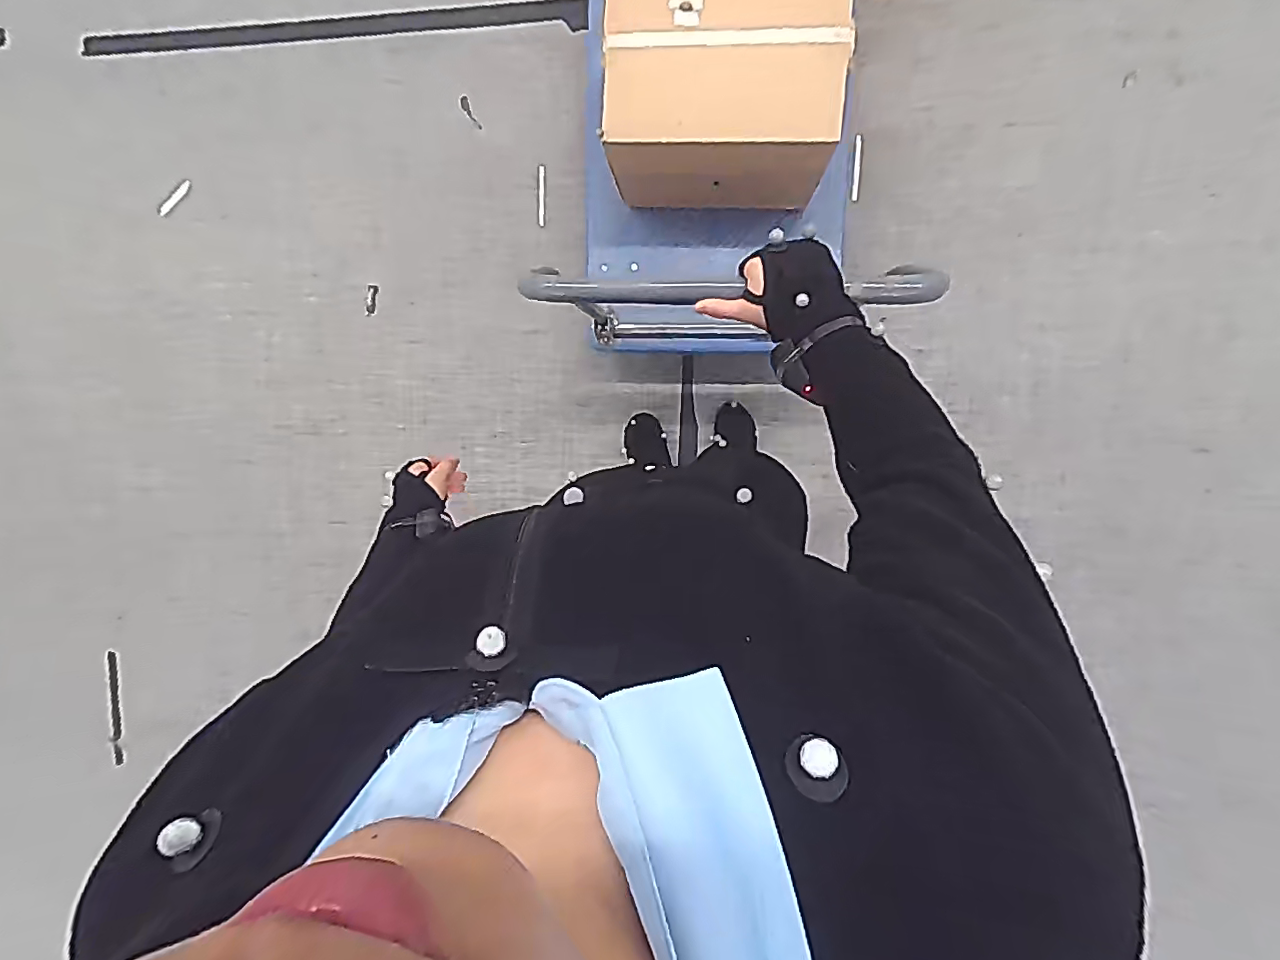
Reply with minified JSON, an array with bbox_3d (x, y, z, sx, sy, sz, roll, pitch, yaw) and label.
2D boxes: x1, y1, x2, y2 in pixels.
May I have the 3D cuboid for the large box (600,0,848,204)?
[{"bbox_3d":[0.154,-0.743,1.034,0.408,0.320,0.320,4,97,7],"label":"large box"}]
